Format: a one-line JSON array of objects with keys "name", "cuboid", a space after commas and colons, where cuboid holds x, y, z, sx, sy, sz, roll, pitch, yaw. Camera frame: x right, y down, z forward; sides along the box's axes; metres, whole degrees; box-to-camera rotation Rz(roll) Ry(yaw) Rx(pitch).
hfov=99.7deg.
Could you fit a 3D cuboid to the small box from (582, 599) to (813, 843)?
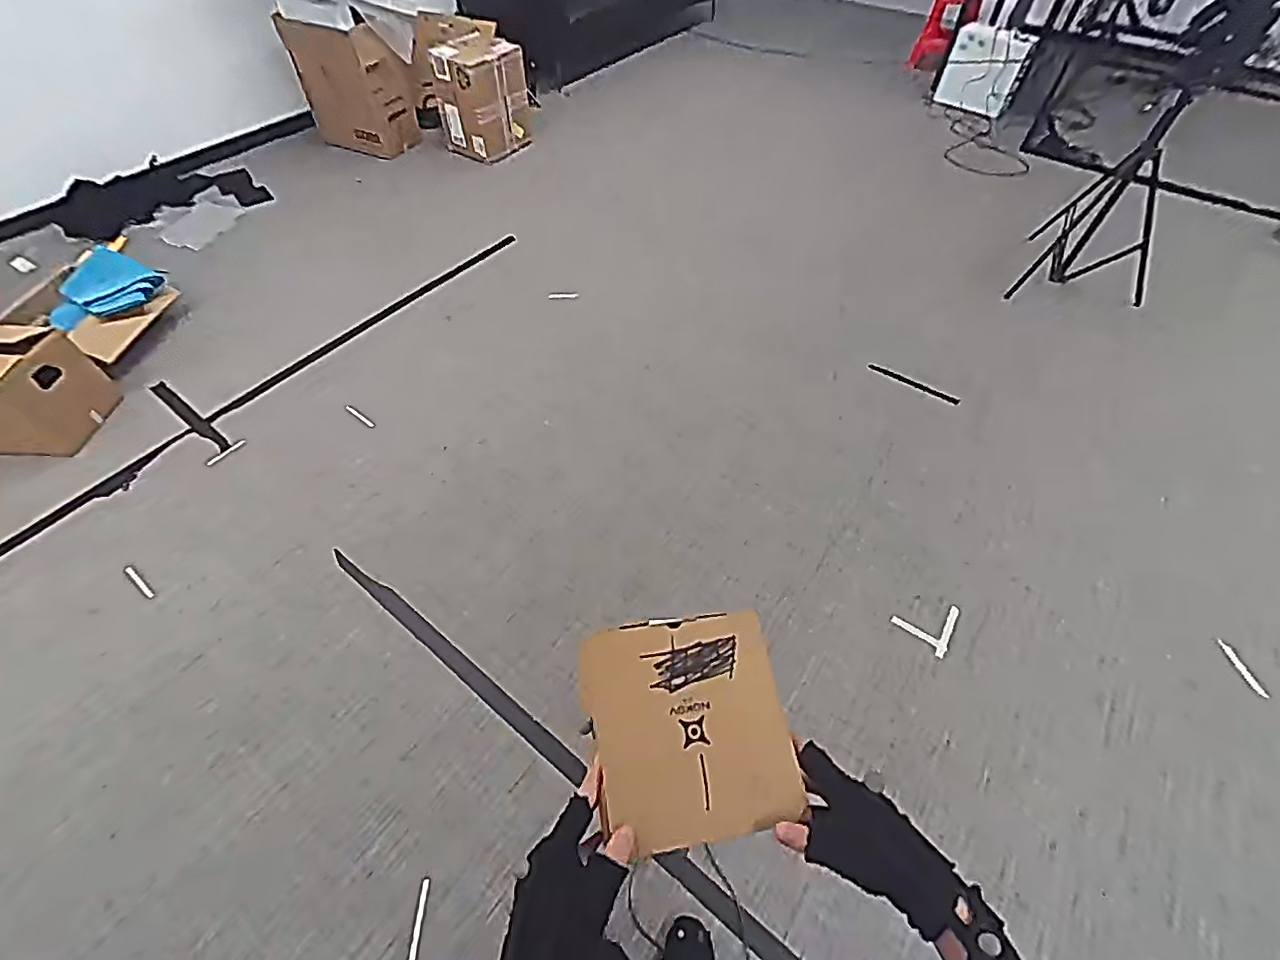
[{"name": "small box", "cuboid": [0.036, 0.233, 0.527, 0.168, 0.176, 0.179, -4, 61, -11]}]
